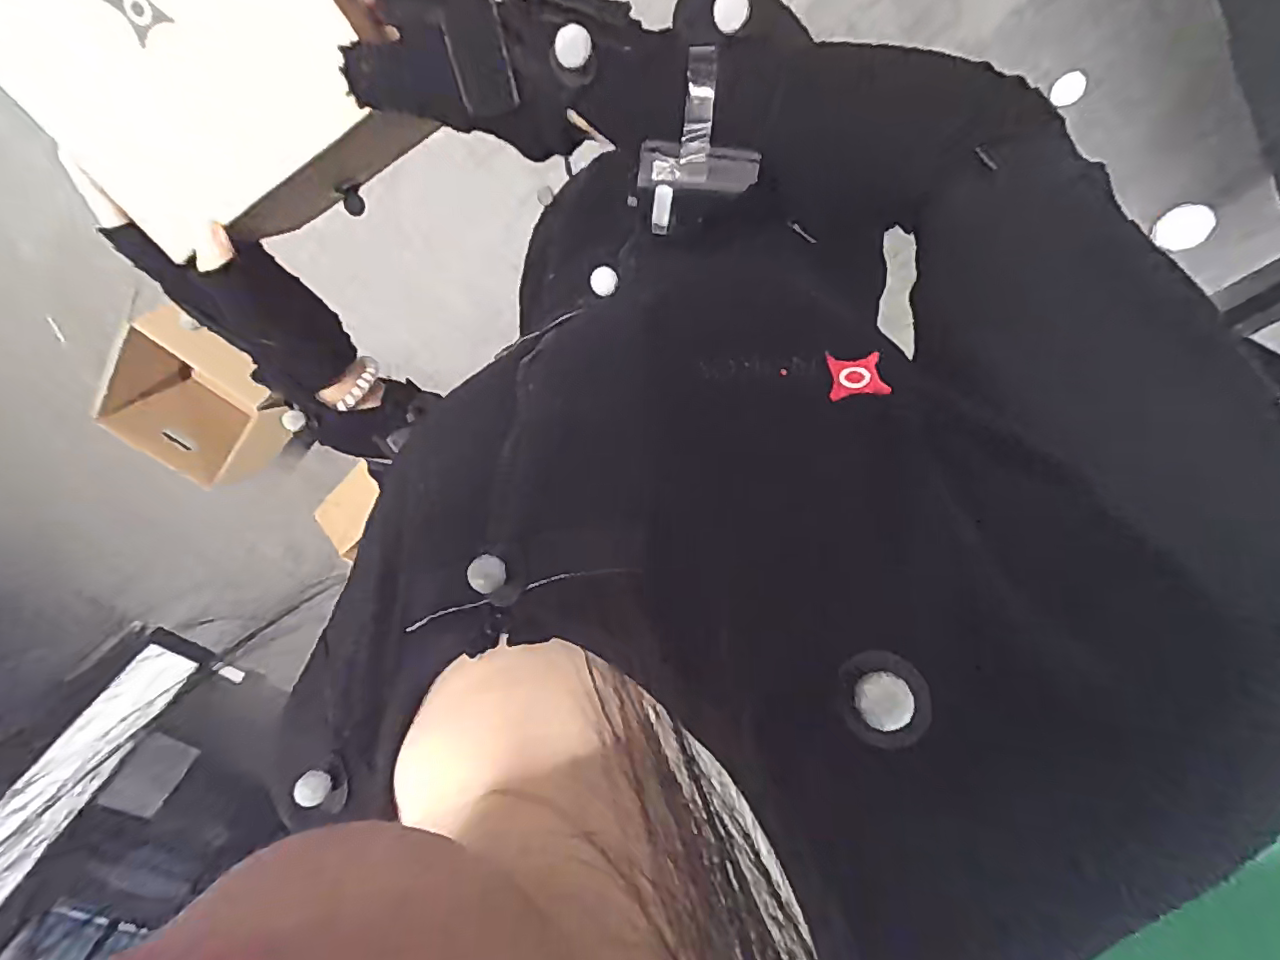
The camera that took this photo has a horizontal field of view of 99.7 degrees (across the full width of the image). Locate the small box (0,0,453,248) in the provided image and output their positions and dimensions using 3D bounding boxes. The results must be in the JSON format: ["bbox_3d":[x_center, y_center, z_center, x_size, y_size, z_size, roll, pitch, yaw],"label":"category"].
[{"bbox_3d":[-0.242,-0.269,0.320,0.168,0.176,0.179,-27,120,12],"label":"small box"}]
